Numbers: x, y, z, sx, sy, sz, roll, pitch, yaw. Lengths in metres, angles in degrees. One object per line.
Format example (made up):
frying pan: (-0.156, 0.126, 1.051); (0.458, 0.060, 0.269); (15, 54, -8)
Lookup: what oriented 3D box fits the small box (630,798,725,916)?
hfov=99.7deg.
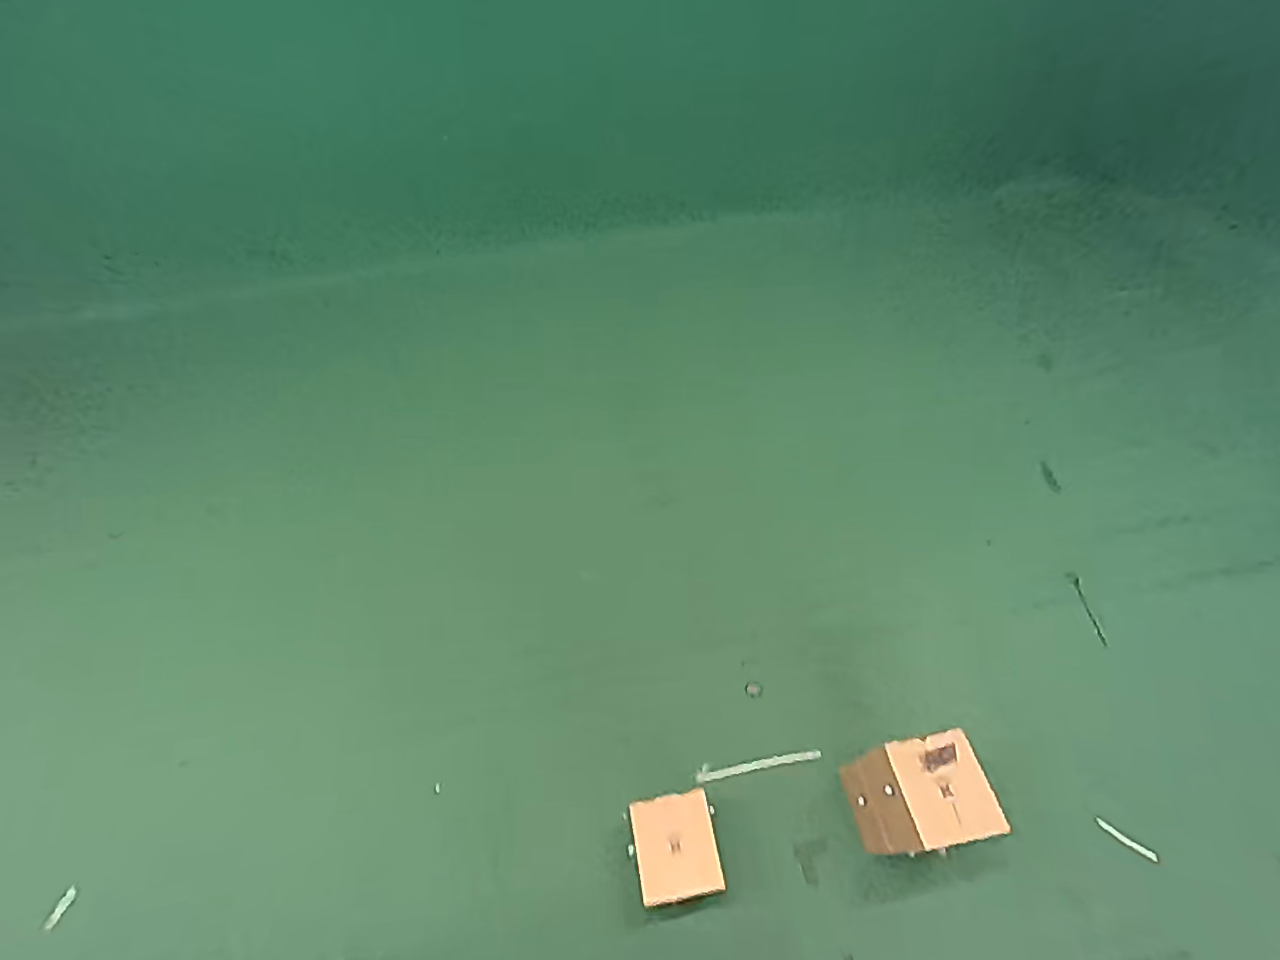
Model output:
small box: (0.076, 0.806, 1.160); (0.168, 0.176, 0.179); (-10, 52, -5)

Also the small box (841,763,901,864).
small box: (0.572, 0.730, 1.199); (0.168, 0.176, 0.179); (-8, 53, -5)

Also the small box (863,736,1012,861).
small box: (0.570, 0.631, 1.068); (0.168, 0.176, 0.179); (-9, 54, -5)
